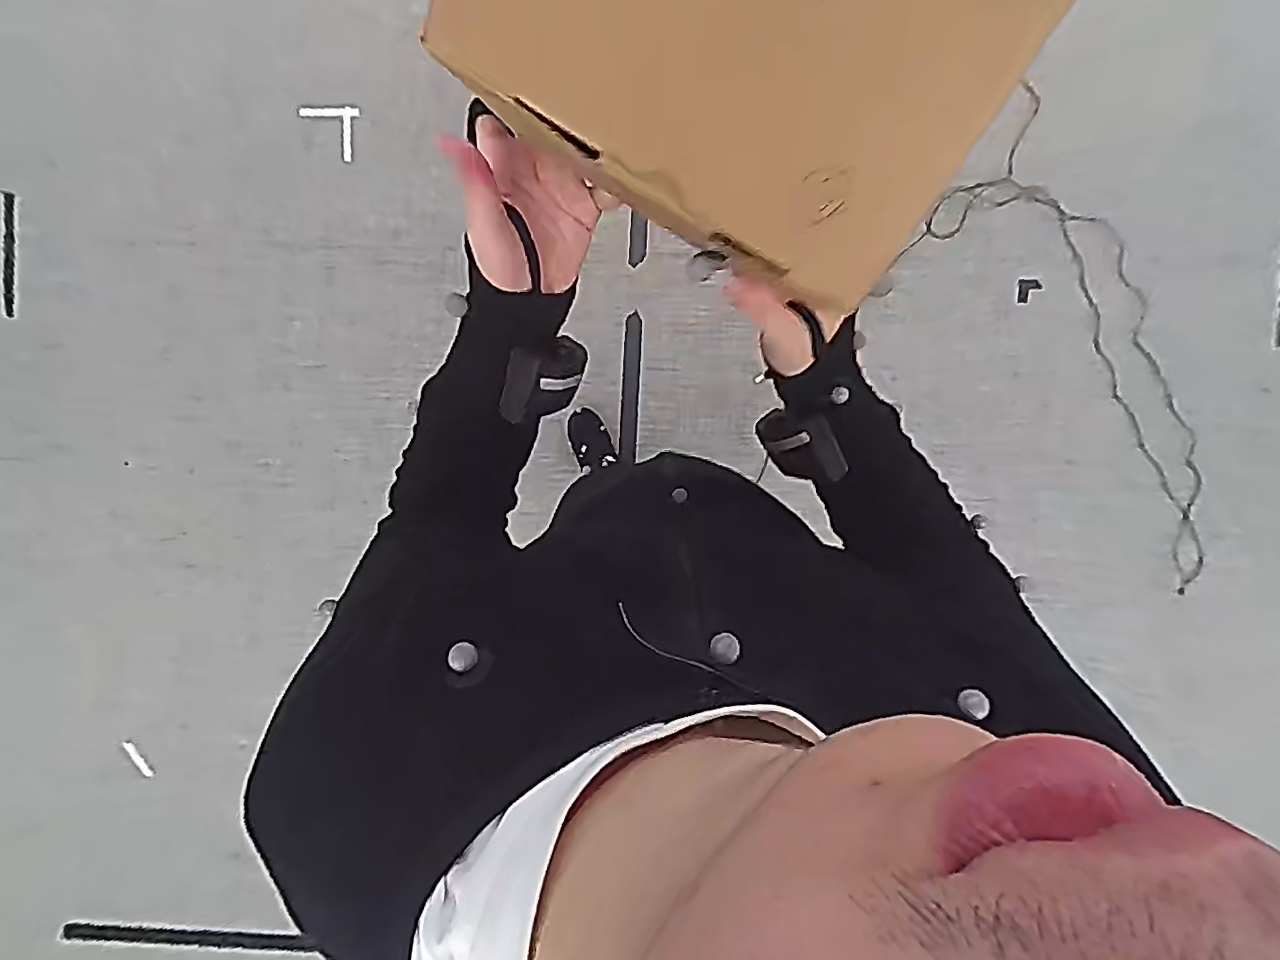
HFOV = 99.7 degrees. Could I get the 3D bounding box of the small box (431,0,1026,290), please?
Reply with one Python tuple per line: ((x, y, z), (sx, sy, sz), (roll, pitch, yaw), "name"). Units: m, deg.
((0.040, -0.206, 0.231), (0.168, 0.176, 0.179), (24, 111, -13), "small box")
